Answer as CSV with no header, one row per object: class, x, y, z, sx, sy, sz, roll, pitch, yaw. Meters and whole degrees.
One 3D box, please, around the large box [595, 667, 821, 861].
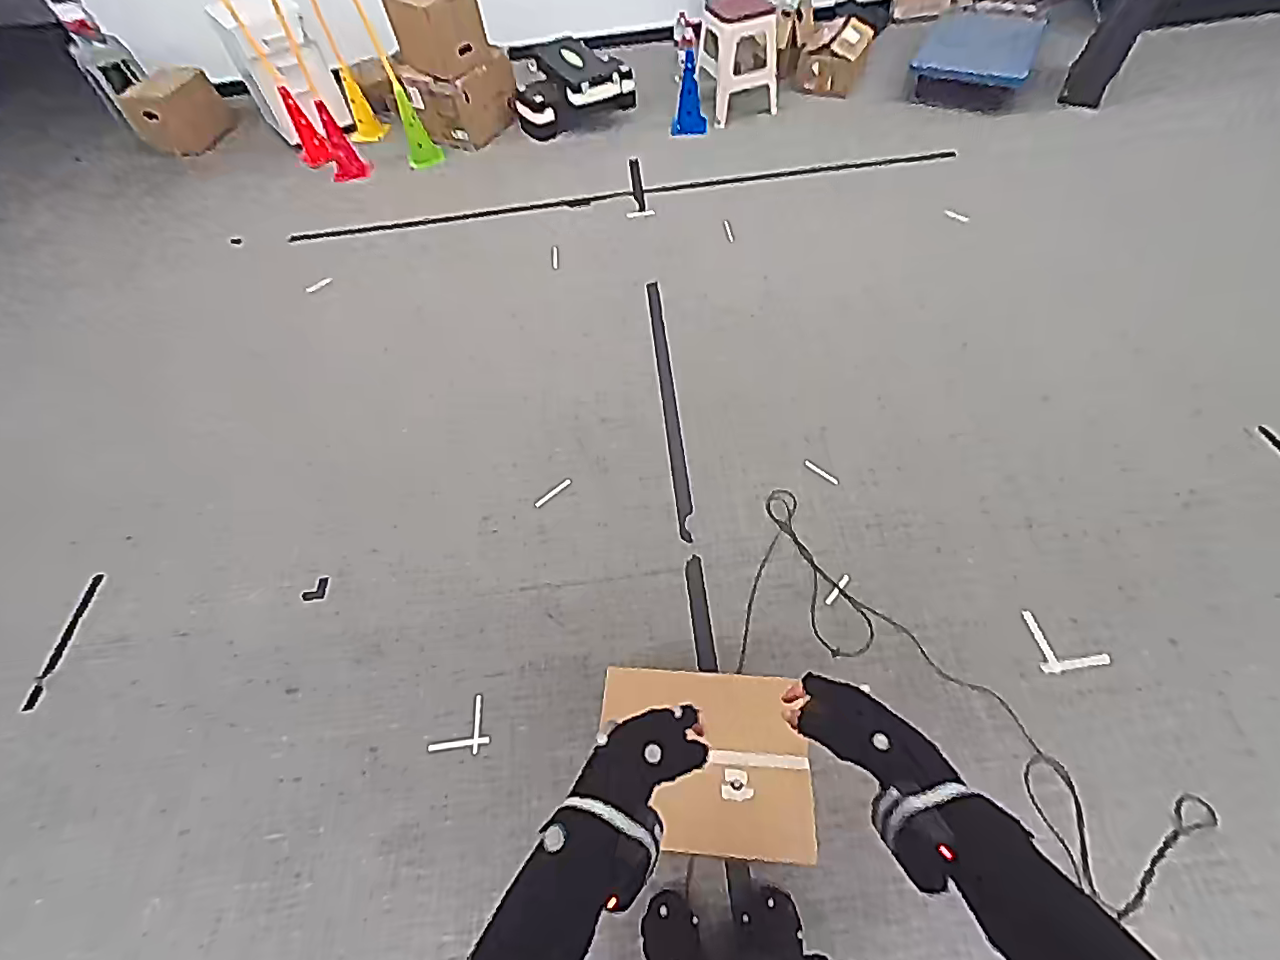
large box,0.134,0.608,1.153,0.408,0.320,0.320,1,55,6
